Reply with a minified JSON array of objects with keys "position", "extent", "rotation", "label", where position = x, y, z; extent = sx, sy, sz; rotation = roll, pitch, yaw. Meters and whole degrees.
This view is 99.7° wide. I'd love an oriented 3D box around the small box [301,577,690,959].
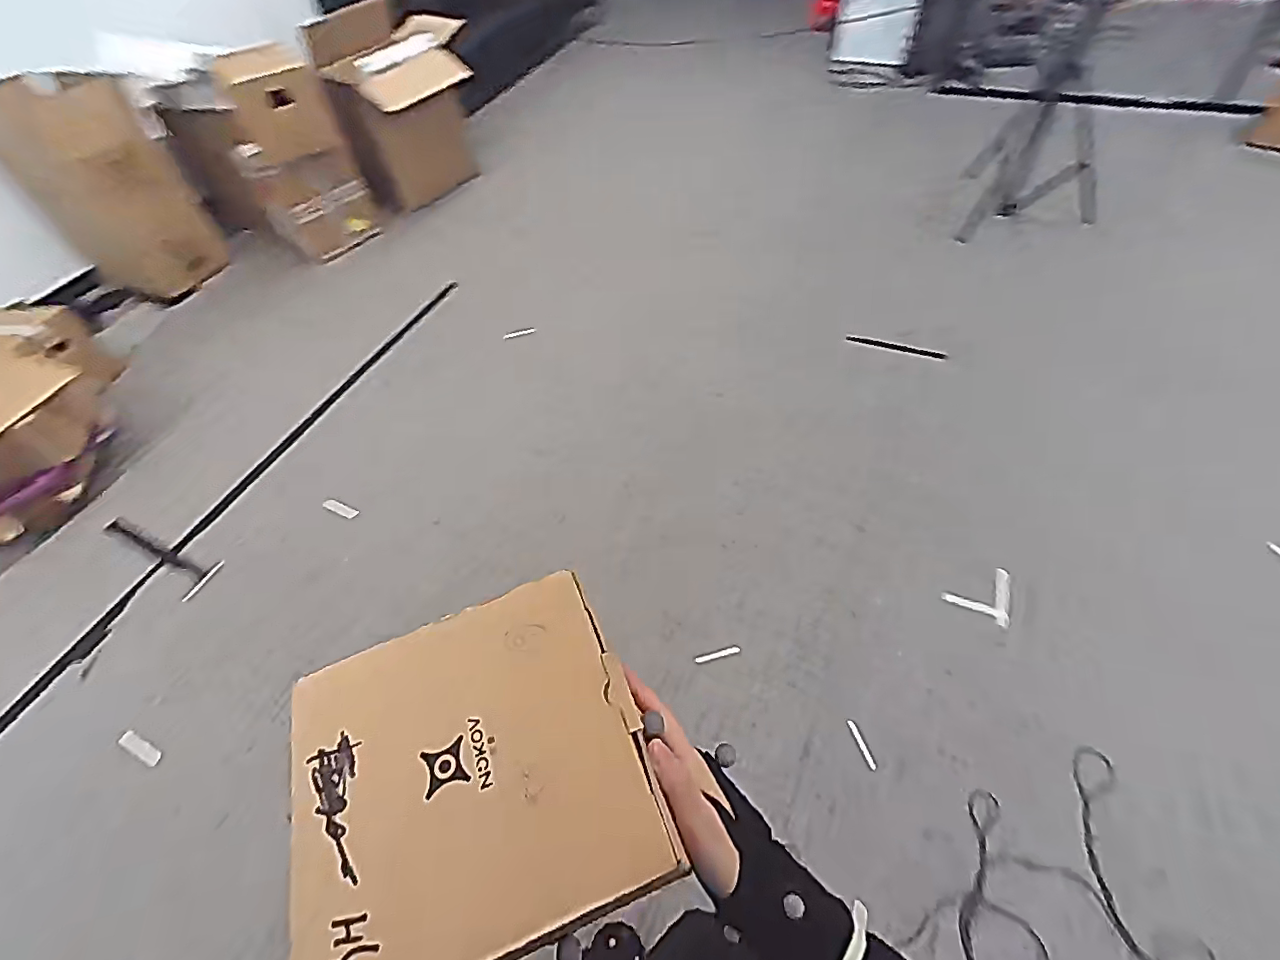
[{"position":[-0.078,0.192,0.343],"extent":[0.179,0.176,0.168],"rotation":[-19,54,-7],"label":"small box"}]
